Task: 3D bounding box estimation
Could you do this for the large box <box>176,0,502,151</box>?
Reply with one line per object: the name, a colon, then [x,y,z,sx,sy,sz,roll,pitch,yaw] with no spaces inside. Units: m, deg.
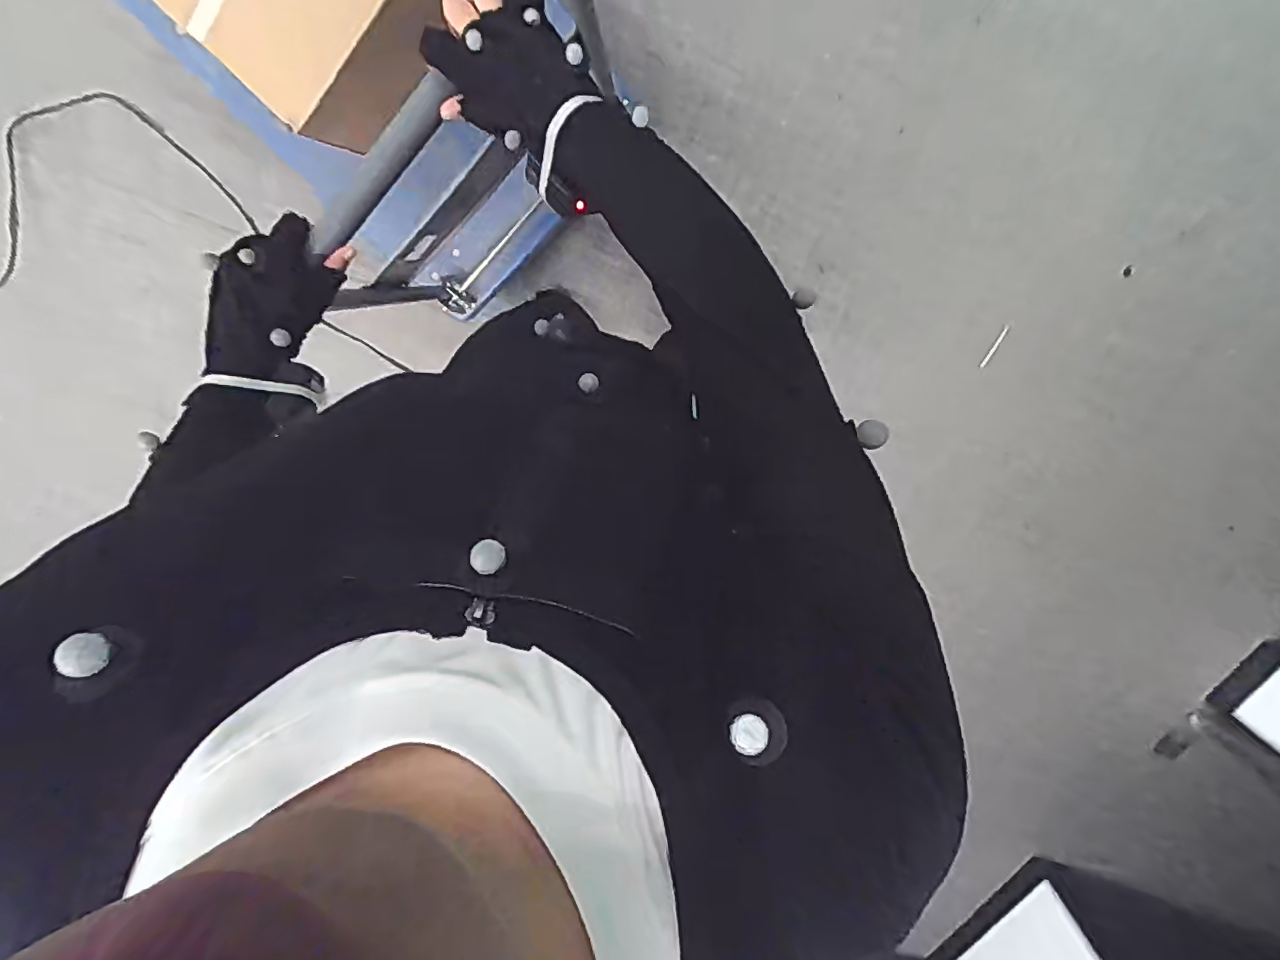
large box: [-0.454,-0.812,0.842,0.408,0.320,0.320,-41,107,17]
